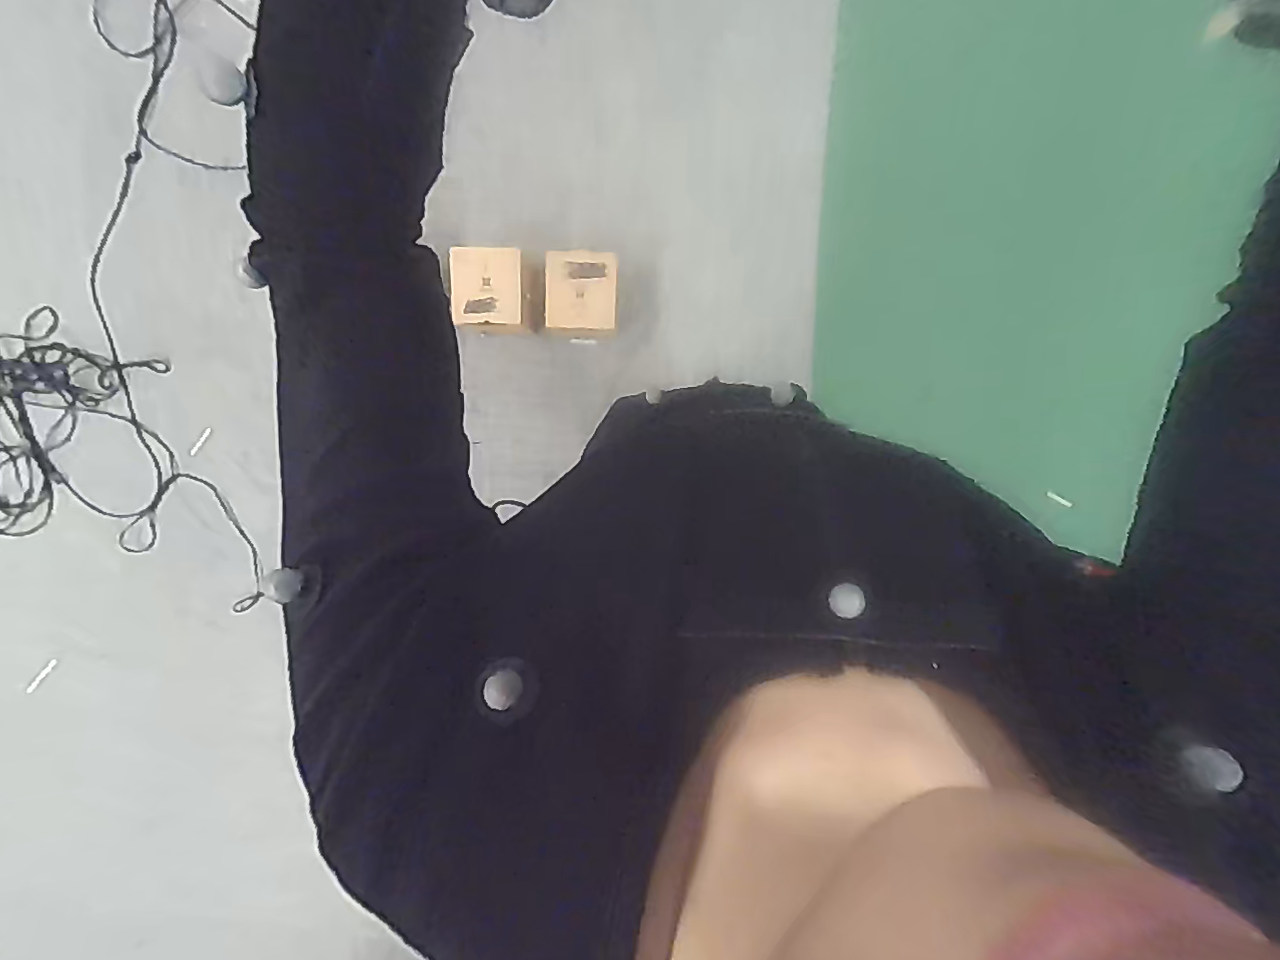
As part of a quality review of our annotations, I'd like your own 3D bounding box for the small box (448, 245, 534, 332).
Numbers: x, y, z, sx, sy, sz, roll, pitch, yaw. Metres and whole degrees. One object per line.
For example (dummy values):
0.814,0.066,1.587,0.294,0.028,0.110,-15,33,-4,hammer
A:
-0.361,-0.465,1.334,0.168,0.176,0.179,1,96,2,small box
